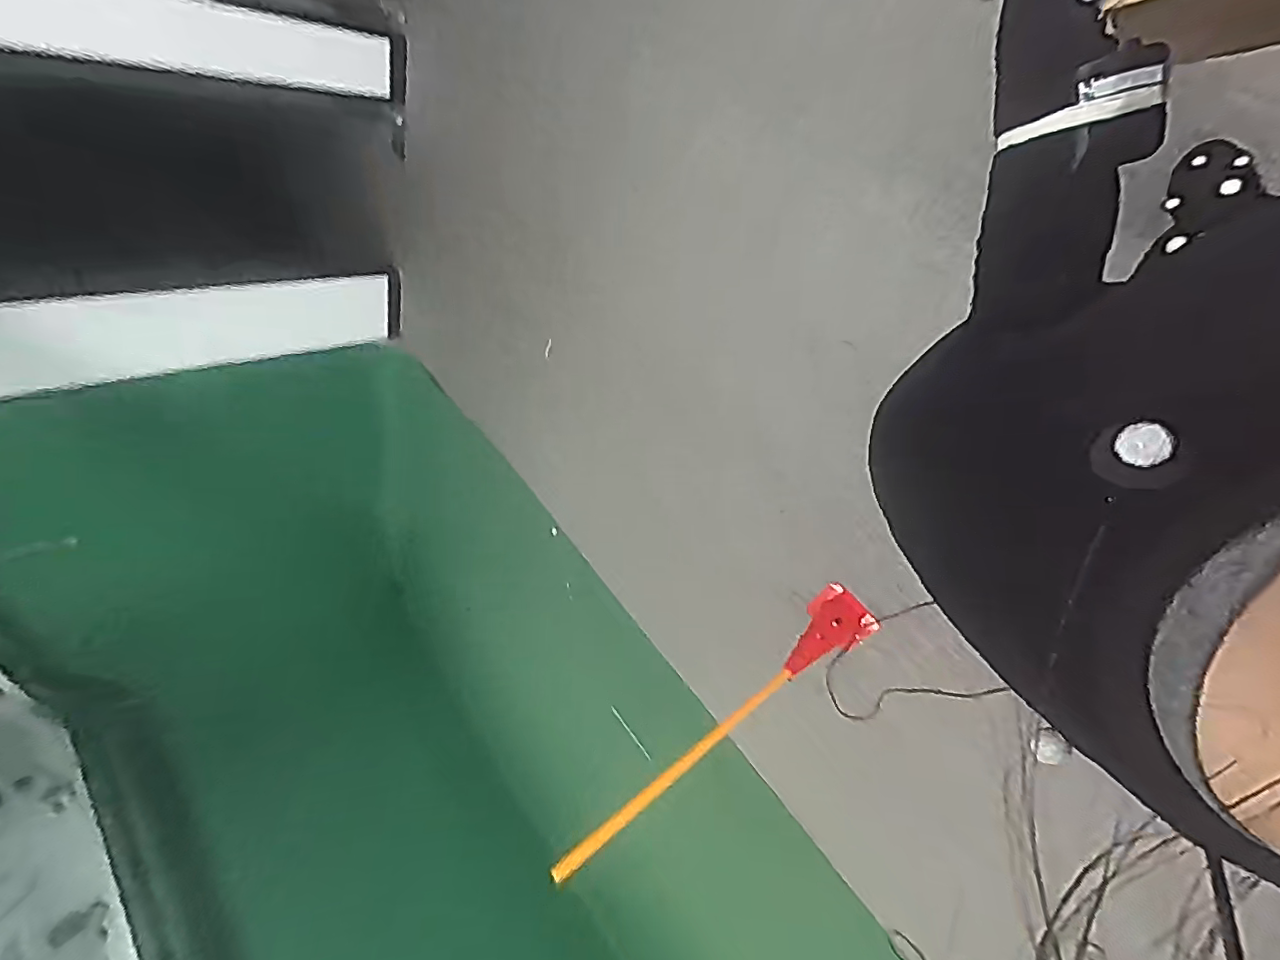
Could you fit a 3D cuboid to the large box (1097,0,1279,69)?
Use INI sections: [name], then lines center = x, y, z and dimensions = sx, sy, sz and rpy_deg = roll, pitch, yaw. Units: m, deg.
[large box]
center = 0.510, -0.433, 0.235
dimensions = 0.408, 0.320, 0.320
rpy_deg = 16, 122, 42
